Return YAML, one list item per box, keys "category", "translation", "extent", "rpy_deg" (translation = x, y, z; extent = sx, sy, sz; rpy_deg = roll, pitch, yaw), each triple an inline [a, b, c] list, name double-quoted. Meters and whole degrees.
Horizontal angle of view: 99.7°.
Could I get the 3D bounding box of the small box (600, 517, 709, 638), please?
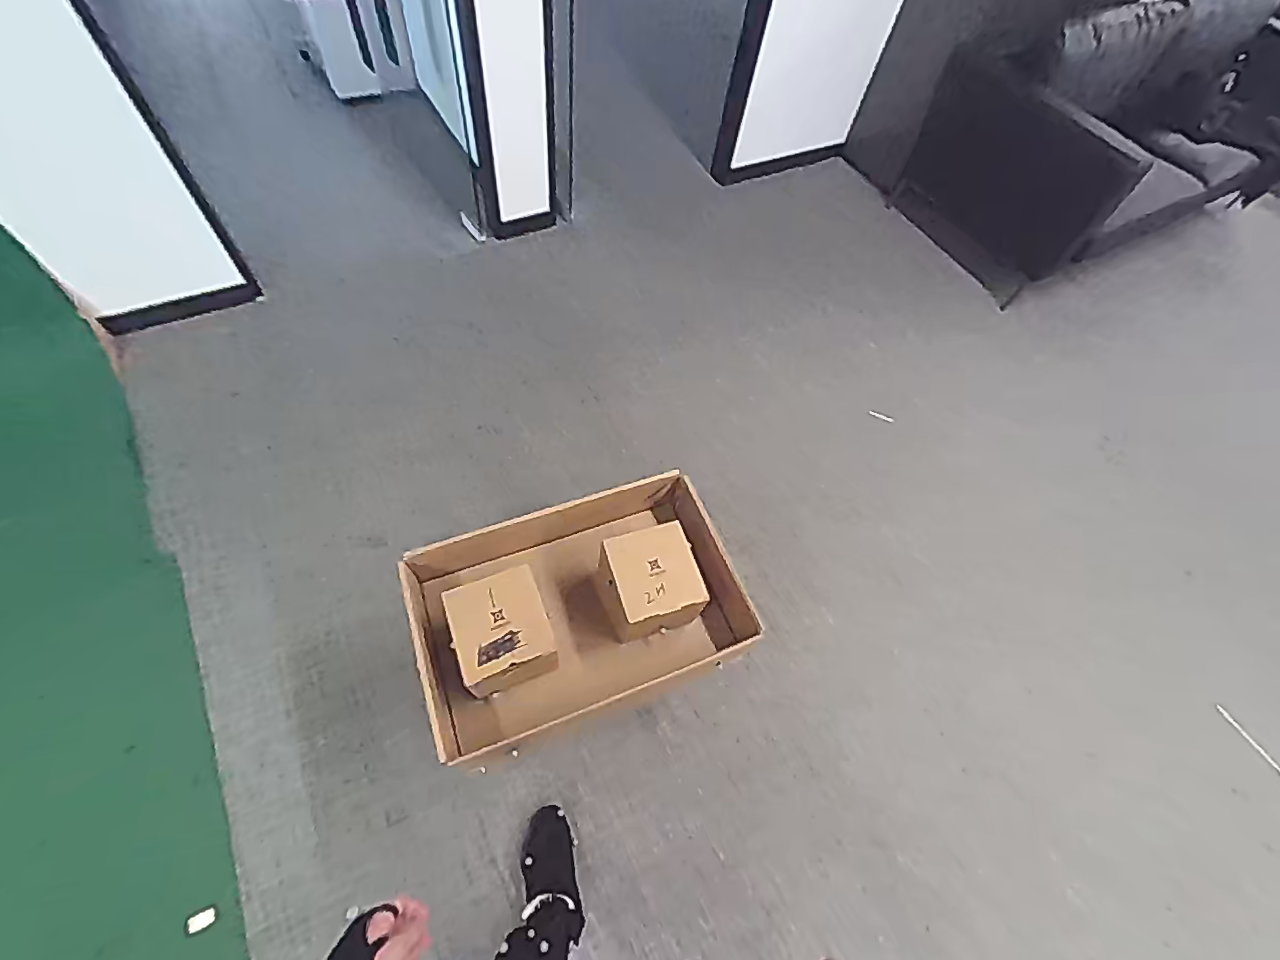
- category: "small box"
  translation: [0.020, 0.202, 1.105]
  extent: [0.168, 0.176, 0.179]
  rpy_deg: [-13, 64, -14]
